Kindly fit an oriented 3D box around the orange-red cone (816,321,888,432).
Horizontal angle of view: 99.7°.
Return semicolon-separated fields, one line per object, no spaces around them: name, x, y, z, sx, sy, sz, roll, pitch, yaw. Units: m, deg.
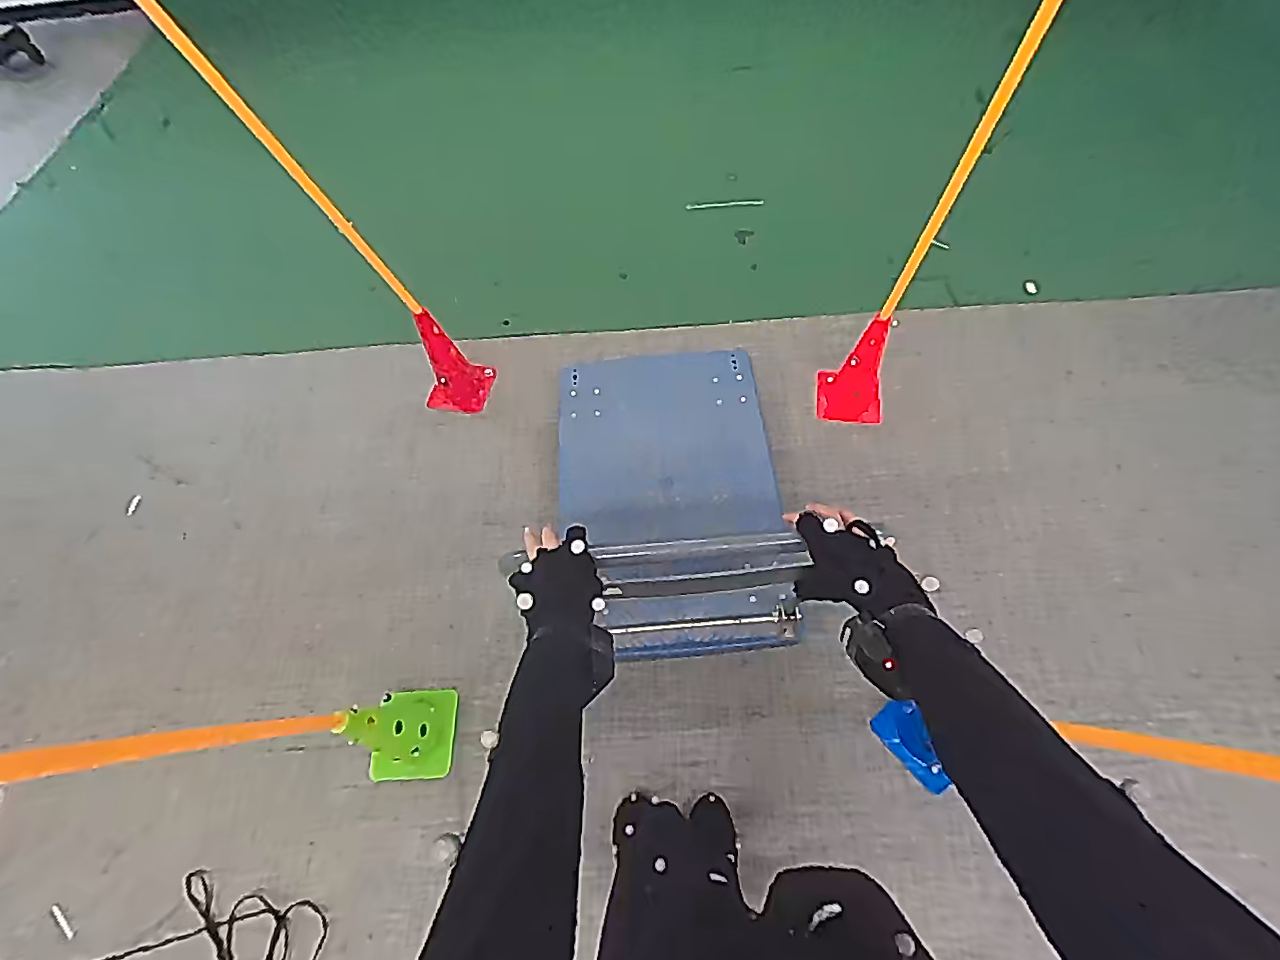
orange-red cone;0.662;-0.325;1.599;0.198;0.360;0.199;7;62;9
